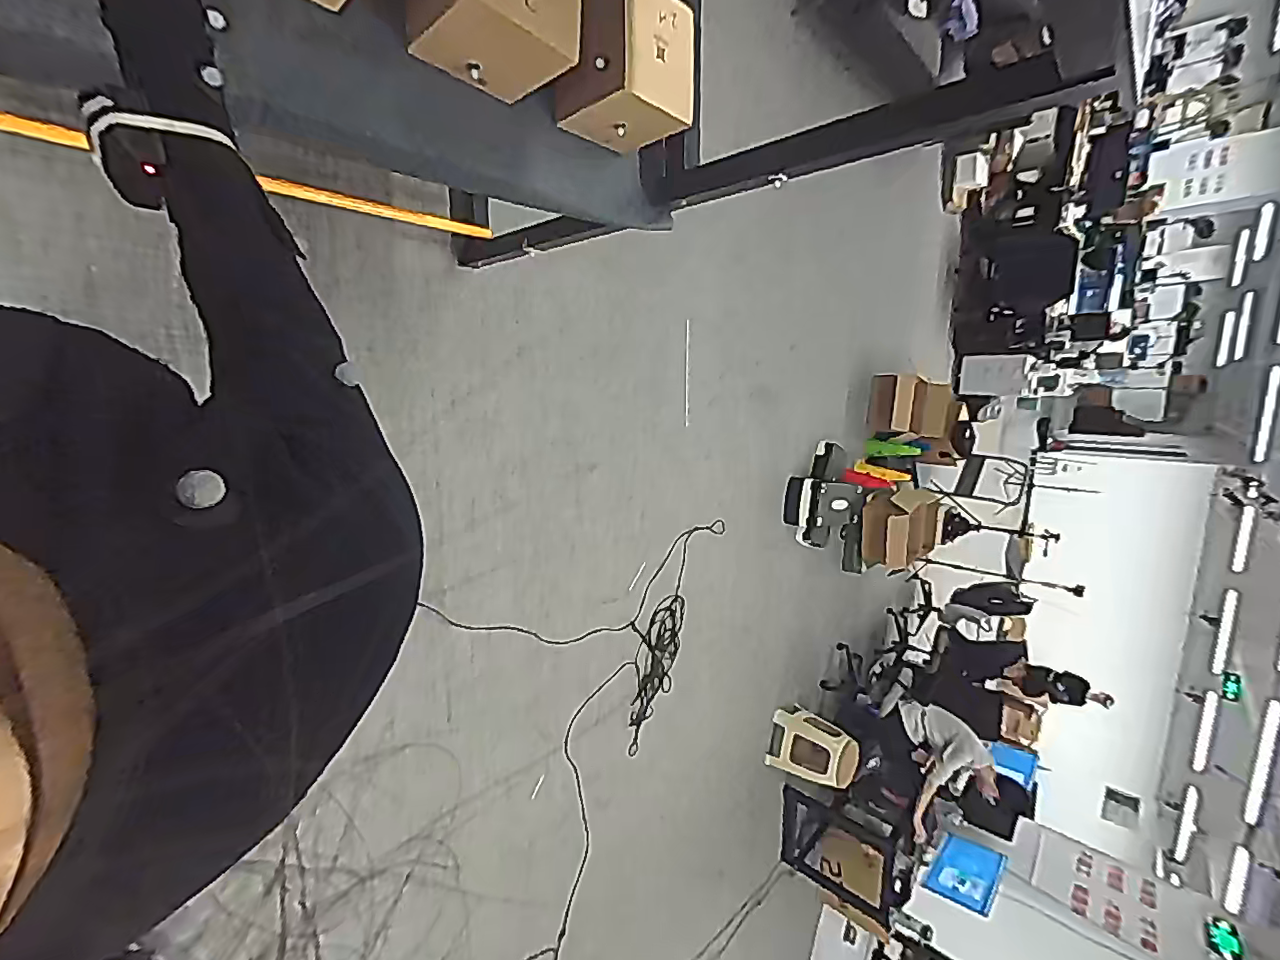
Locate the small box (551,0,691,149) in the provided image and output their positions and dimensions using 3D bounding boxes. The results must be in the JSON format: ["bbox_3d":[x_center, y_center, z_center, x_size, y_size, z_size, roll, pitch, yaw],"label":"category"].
[{"bbox_3d":[-0.033,-0.684,0.898,0.168,0.176,0.179,-11,104,-47],"label":"small box"}]
